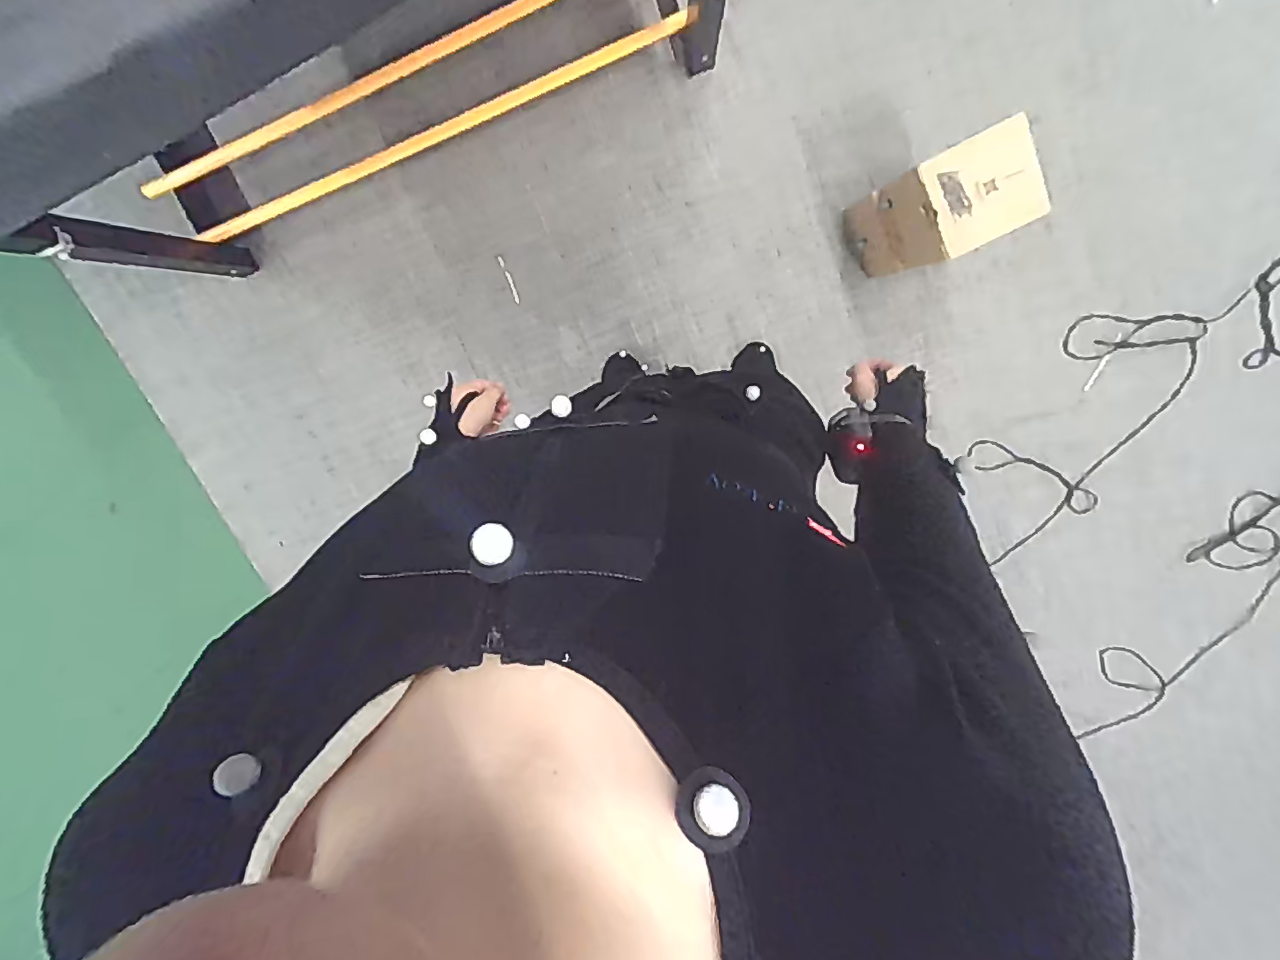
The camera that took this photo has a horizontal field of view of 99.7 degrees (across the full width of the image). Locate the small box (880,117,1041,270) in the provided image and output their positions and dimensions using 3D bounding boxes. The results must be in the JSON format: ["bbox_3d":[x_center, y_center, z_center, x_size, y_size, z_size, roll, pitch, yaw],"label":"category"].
[{"bbox_3d":[0.555,-0.495,0.966,0.179,0.176,0.168,-25,103,7],"label":"small box"}]

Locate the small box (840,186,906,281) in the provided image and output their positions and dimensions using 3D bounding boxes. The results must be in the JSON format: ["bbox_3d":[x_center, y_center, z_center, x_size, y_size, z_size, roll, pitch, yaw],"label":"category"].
[{"bbox_3d":[0.548,-0.534,1.126,0.179,0.176,0.168,-26,102,9],"label":"small box"}]
